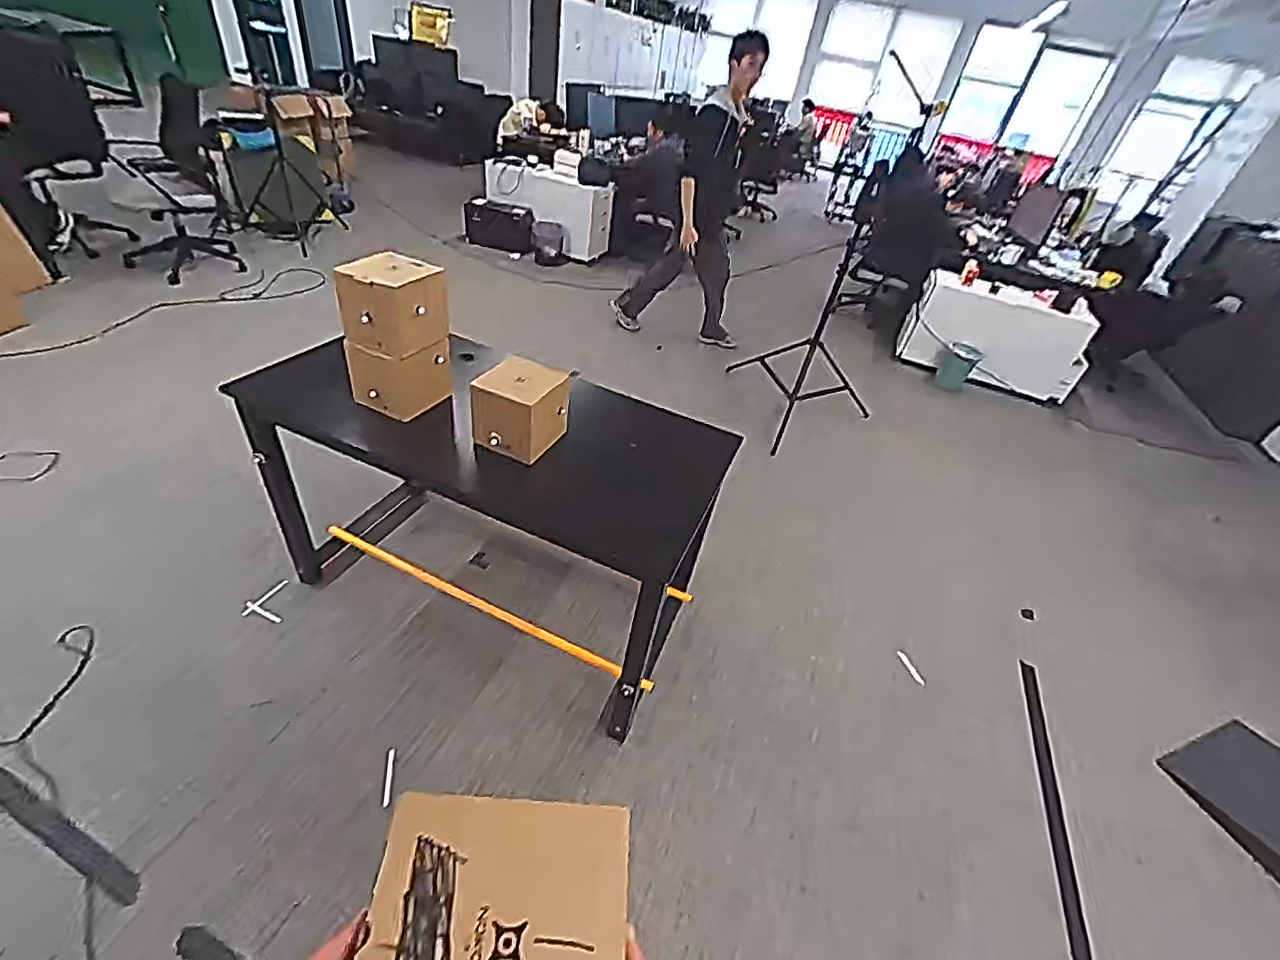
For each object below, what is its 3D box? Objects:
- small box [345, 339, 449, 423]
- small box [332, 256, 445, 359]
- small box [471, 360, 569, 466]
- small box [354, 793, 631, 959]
[{"bbox_3d":[-0.604,-0.272,1.364,0.168,0.176,0.179,22,39,14],"label":"small box"},{"bbox_3d":[-0.577,-0.404,1.271,0.168,0.176,0.179,20,39,11],"label":"small box"},{"bbox_3d":[-0.289,-0.163,1.310,0.168,0.176,0.179,20,39,13],"label":"small box"},{"bbox_3d":[-0.106,0.357,0.411,0.179,0.176,0.168,8,45,-7],"label":"small box"}]
